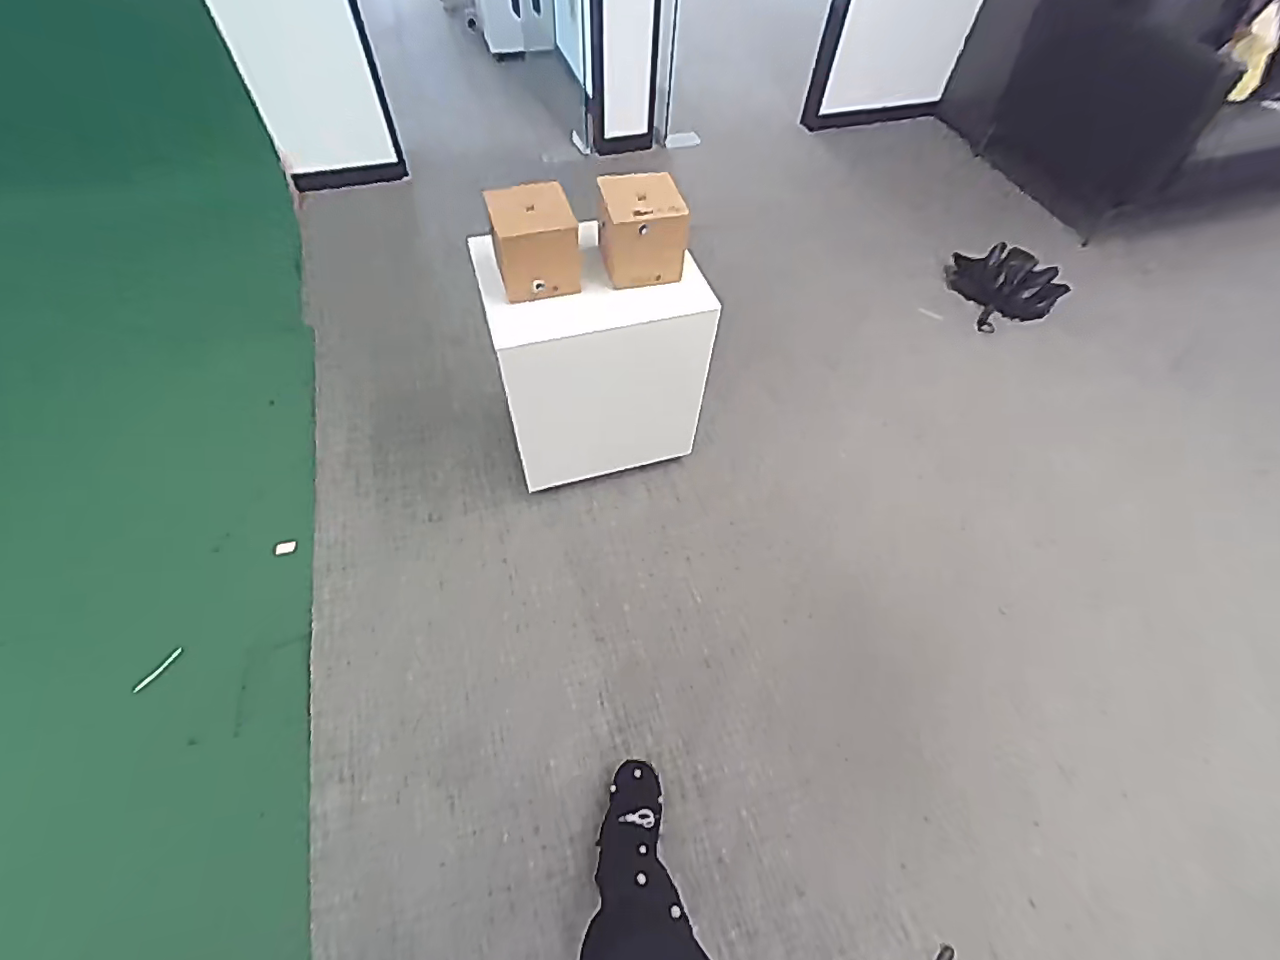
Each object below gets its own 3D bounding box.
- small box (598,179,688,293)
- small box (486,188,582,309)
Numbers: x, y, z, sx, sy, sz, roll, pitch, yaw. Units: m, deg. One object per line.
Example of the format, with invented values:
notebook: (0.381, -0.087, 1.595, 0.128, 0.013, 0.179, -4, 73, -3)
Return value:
small box: (-0.001, -0.553, 1.229, 0.168, 0.176, 0.179, -10, 57, -9)
small box: (-0.230, -0.508, 1.190, 0.168, 0.176, 0.179, -15, 60, -12)
